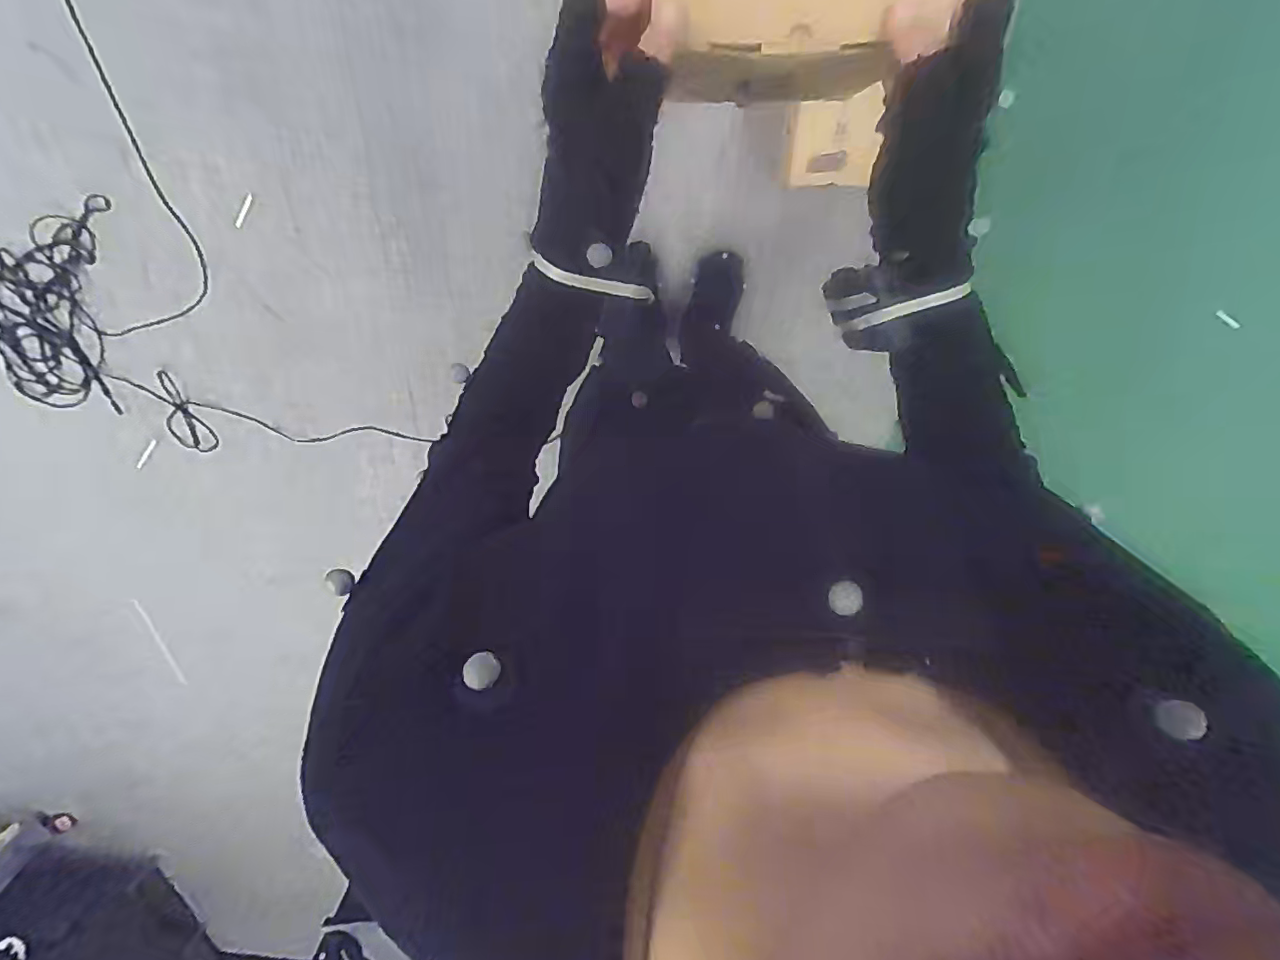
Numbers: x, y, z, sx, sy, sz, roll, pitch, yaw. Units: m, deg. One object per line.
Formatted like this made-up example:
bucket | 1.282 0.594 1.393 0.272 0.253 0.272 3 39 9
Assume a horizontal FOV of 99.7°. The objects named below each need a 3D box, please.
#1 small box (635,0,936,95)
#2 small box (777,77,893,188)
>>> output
small box | 0.080 -0.358 0.334 0.168 0.176 0.179 0 118 1
small box | 0.376 -0.689 1.080 0.168 0.176 0.179 3 120 3
